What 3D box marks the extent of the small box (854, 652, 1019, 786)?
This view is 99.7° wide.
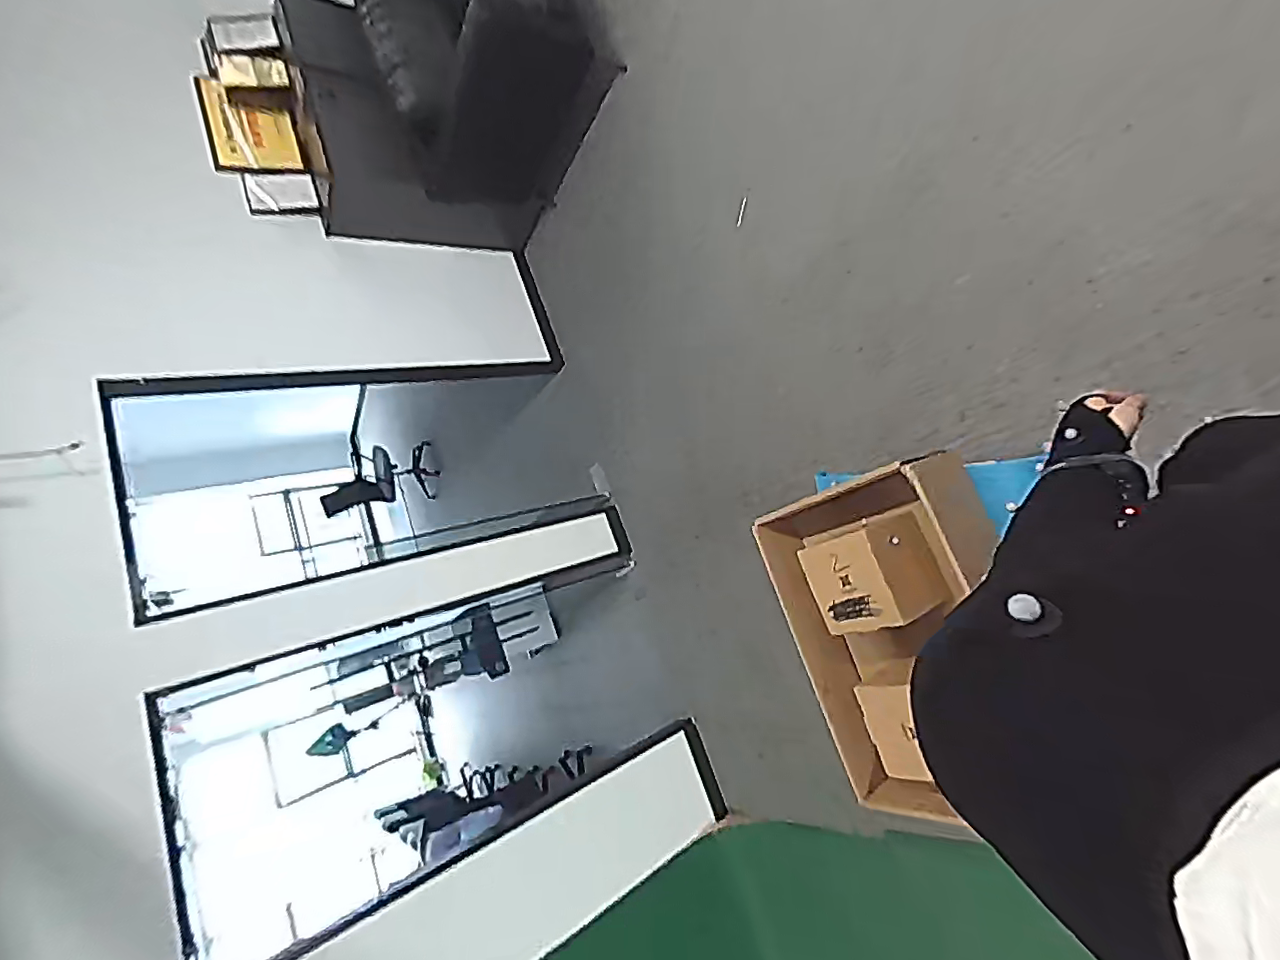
[{"bbox_3d":[0.539,0.427,0.988,0.179,0.176,0.168,-35,72,54],"label":"small box"}]
